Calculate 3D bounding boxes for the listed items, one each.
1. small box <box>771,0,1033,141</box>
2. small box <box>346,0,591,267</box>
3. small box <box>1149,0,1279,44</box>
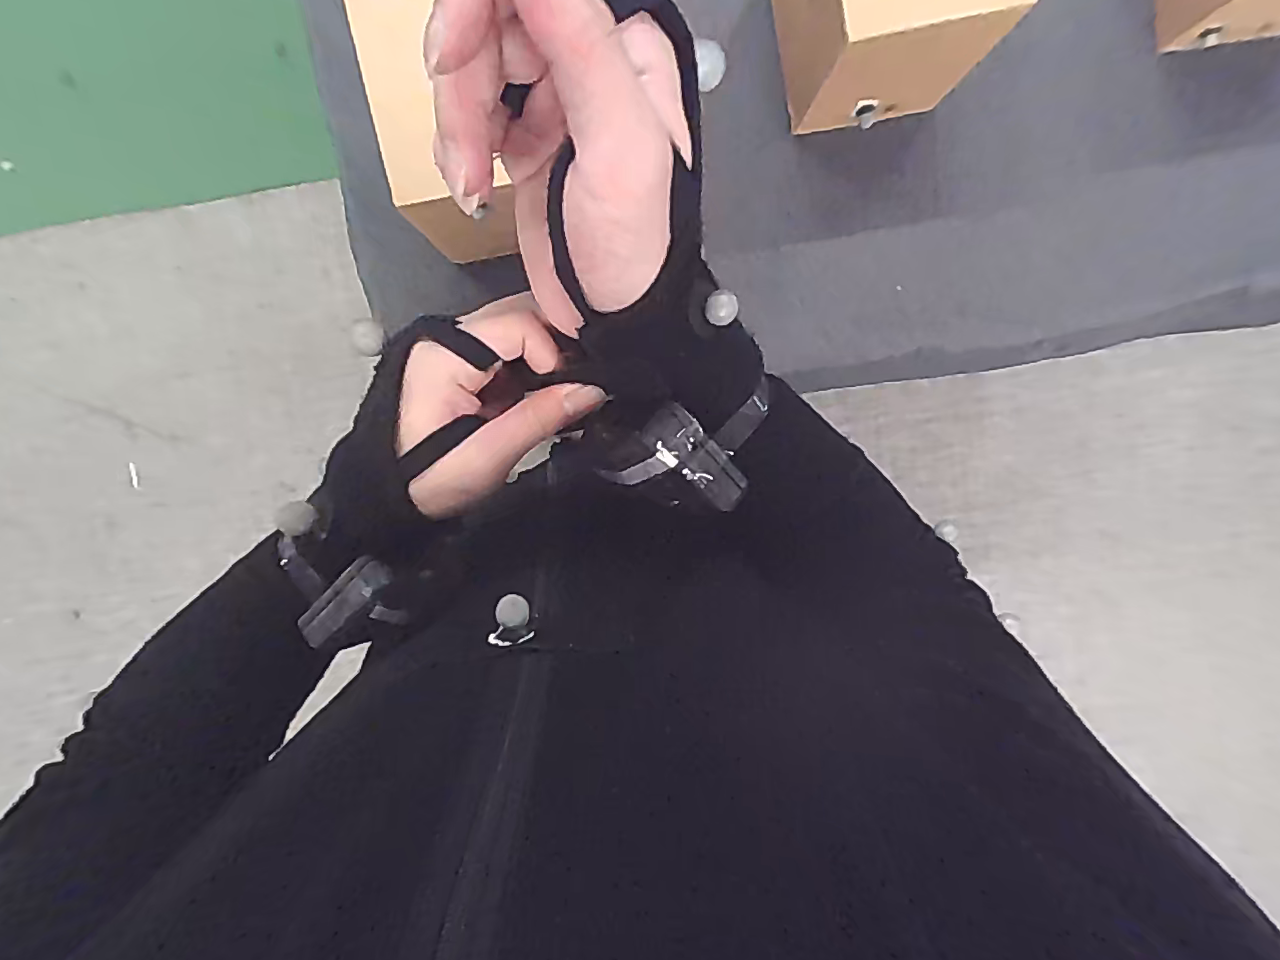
[{"bbox_3d":[0.235,-0.475,0.527,0.168,0.176,0.179,-12,98,1],"label":"small box"},{"bbox_3d":[-0.148,-0.333,0.529,0.168,0.176,0.179,-12,96,0],"label":"small box"},{"bbox_3d":[0.646,-0.567,0.523,0.168,0.176,0.179,-9,96,0],"label":"small box"}]
